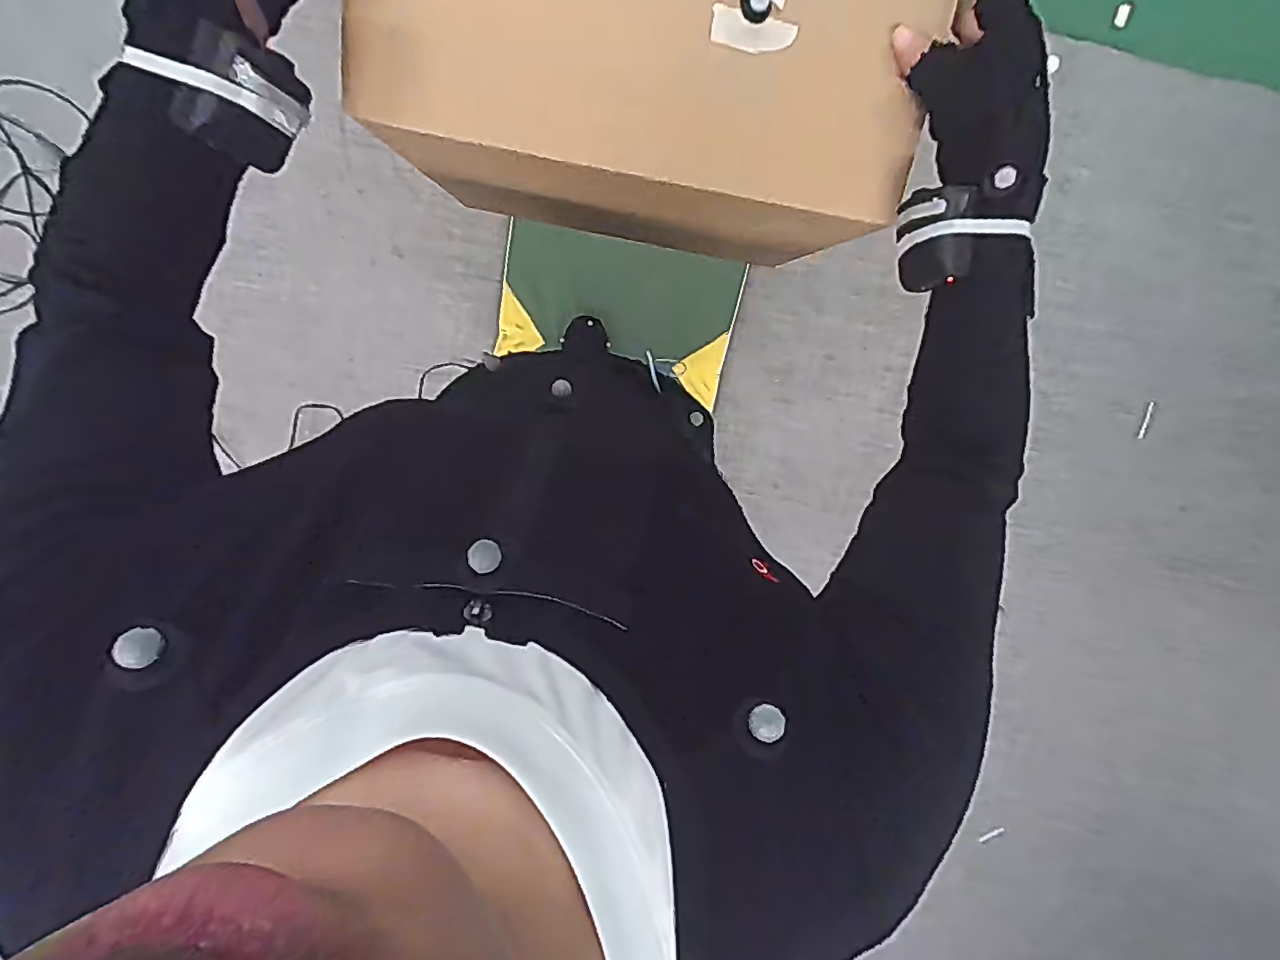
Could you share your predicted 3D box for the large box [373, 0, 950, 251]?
[{"bbox_3d":[0.017,-0.425,0.503,0.408,0.320,0.320,8,106,-6],"label":"large box"}]
